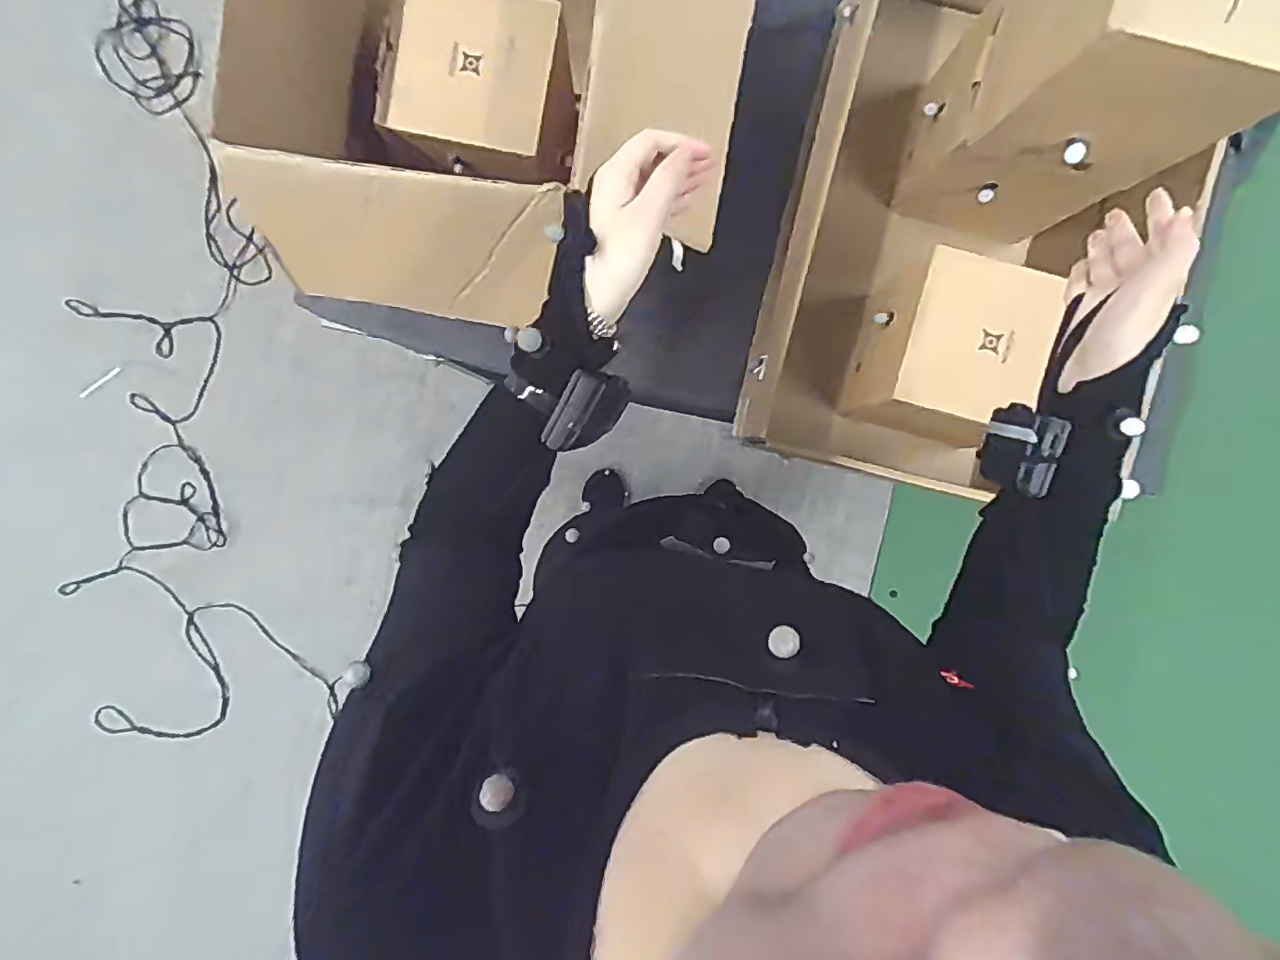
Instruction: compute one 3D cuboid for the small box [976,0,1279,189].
[{"bbox_3d":[0.425,-0.385,0.454,0.168,0.176,0.179,14,95,0],"label":"small box"}]
